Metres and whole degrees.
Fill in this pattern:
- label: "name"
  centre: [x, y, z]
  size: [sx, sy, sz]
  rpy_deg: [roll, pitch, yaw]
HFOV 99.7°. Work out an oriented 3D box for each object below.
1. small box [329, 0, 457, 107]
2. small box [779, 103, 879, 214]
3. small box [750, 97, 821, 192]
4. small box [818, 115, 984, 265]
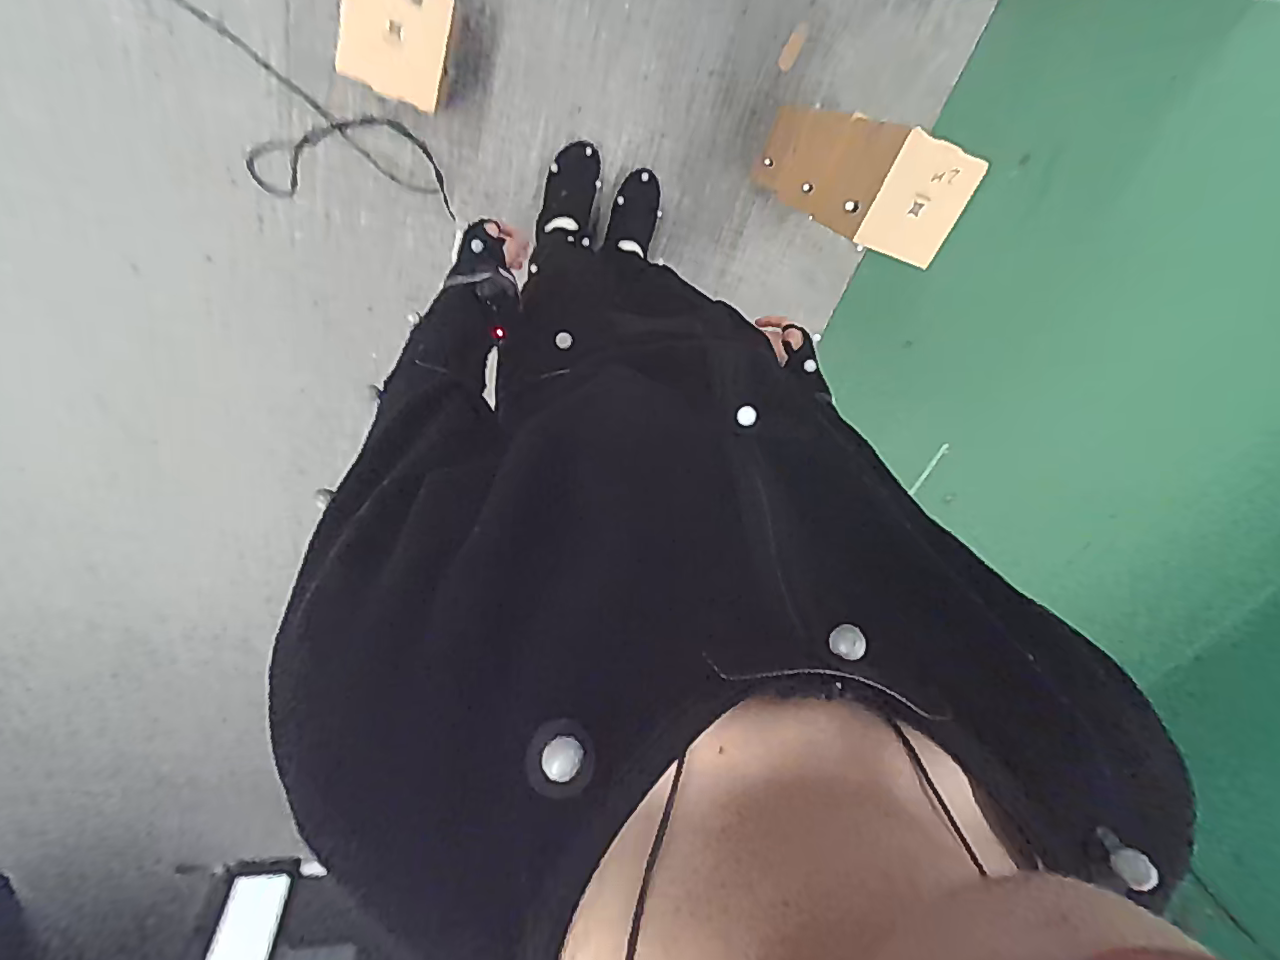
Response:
- label: "small box"
  centre: [-0.429, -0.798, 0.957]
  size: [0.168, 0.176, 0.179]
  rpy_deg: [14, 122, -22]
- label: "small box"
  centre: [0.402, -0.618, 1.068]
  size: [0.168, 0.176, 0.179]
  rpy_deg: [10, 125, -19]
- label: "small box"
  centre: [0.369, -0.716, 1.193]
  size: [0.179, 0.176, 0.168]
  rpy_deg: [12, 123, -21]
- label: "small box"
  centre: [0.439, -0.510, 0.949]
  size: [0.168, 0.176, 0.179]
  rpy_deg: [10, 124, -19]
